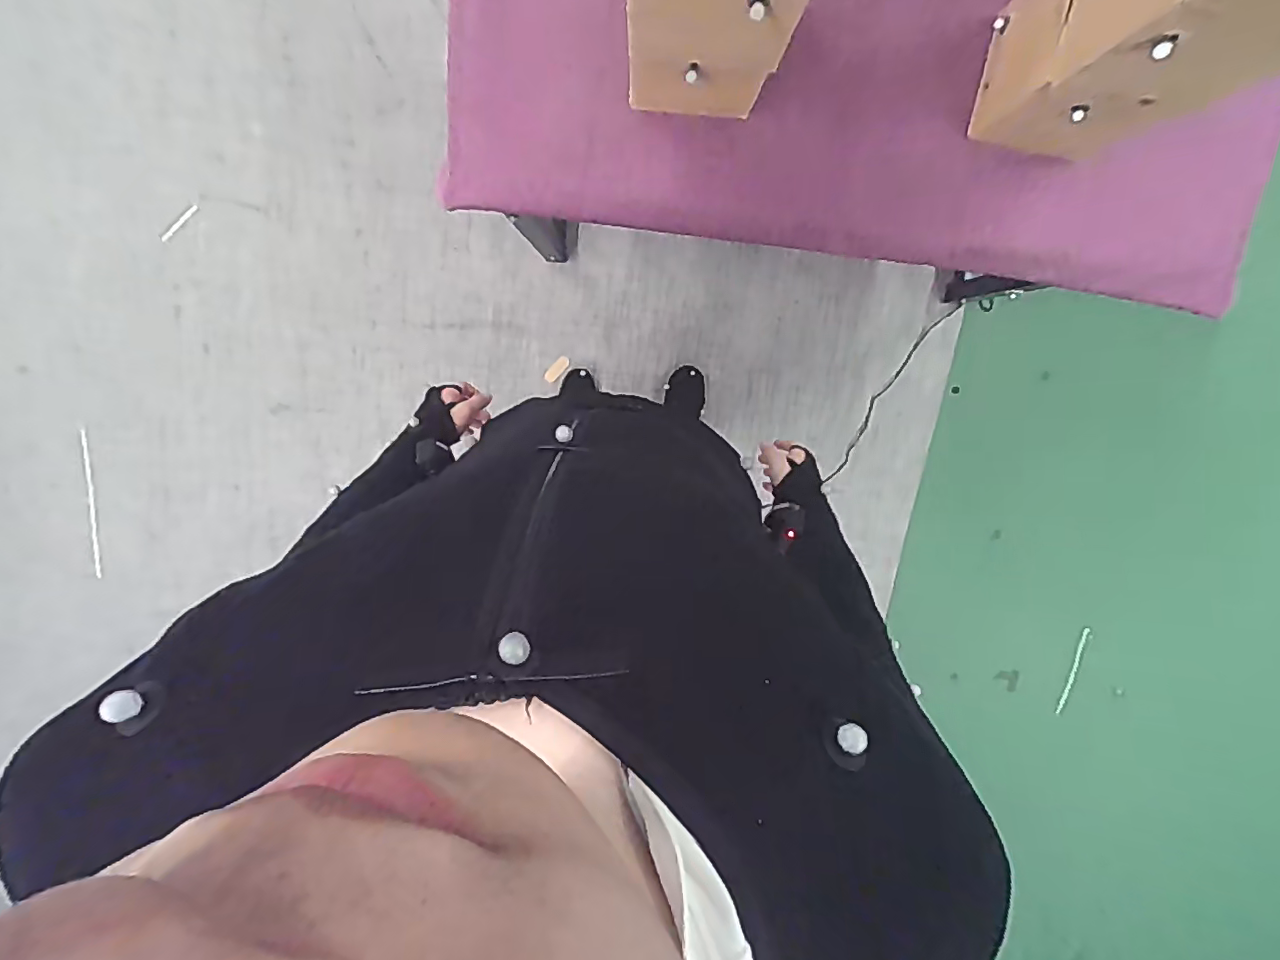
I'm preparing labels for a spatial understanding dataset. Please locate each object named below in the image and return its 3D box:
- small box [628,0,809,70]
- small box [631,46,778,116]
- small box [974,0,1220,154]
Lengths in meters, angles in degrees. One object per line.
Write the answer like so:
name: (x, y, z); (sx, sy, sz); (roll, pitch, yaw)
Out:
small box: (0.083, -0.549, 0.541); (0.179, 0.176, 0.168); (6, 102, -1)
small box: (0.083, -0.599, 0.699); (0.179, 0.176, 0.168); (5, 103, 0)
small box: (0.579, -0.552, 0.702); (0.179, 0.176, 0.168); (9, 102, -2)
